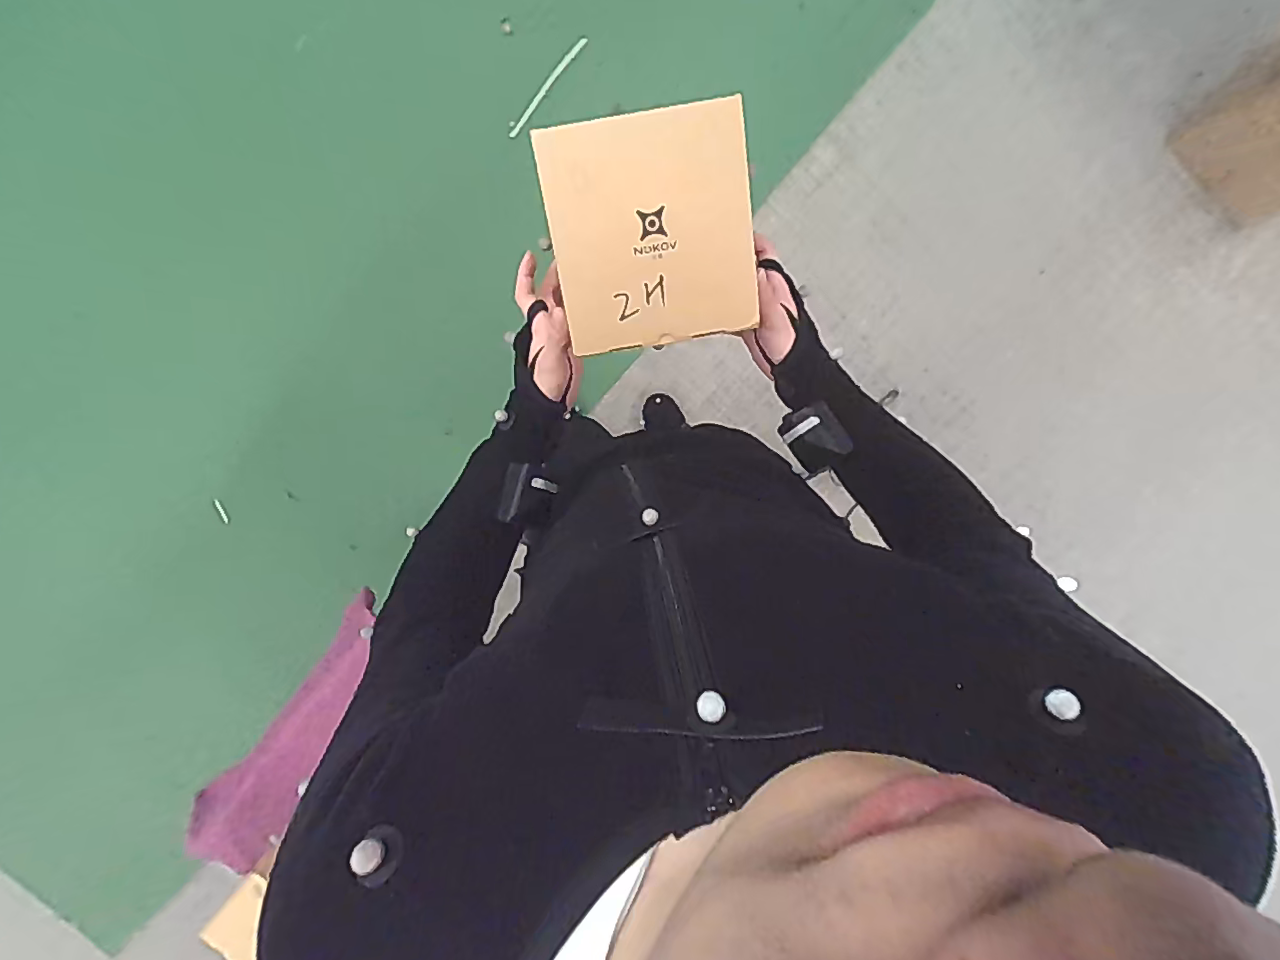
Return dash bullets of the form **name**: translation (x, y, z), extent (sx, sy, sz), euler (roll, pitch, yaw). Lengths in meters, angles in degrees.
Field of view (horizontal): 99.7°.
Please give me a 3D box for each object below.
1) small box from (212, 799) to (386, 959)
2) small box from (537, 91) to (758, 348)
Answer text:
- **small box**: translation (-0.600, 0.733, 0.977), extent (0.168, 0.176, 0.179), euler (41, 100, -4)
- **small box**: translation (0.007, -0.230, 0.513), extent (0.168, 0.176, 0.179), euler (-8, 110, 1)
